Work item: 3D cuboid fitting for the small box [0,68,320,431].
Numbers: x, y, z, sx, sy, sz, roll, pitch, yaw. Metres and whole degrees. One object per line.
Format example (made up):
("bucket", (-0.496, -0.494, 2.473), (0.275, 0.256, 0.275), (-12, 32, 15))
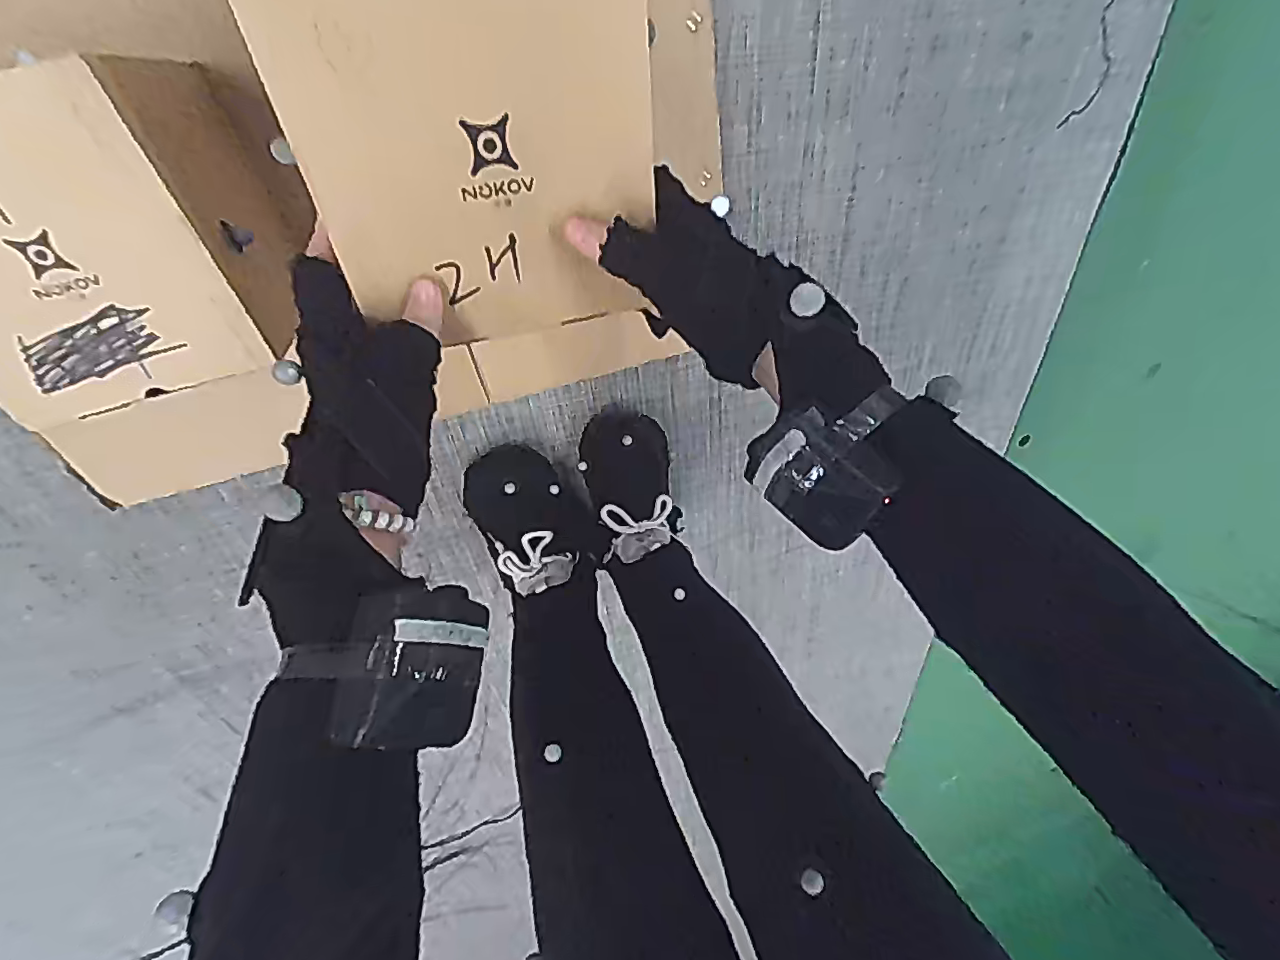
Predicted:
("small box", (-0.359, -0.166, 0.379), (0.168, 0.176, 0.179), (-18, 128, -7))

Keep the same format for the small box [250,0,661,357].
("small box", (-0.094, -0.201, 0.319), (0.168, 0.176, 0.179), (-15, 133, -12))
